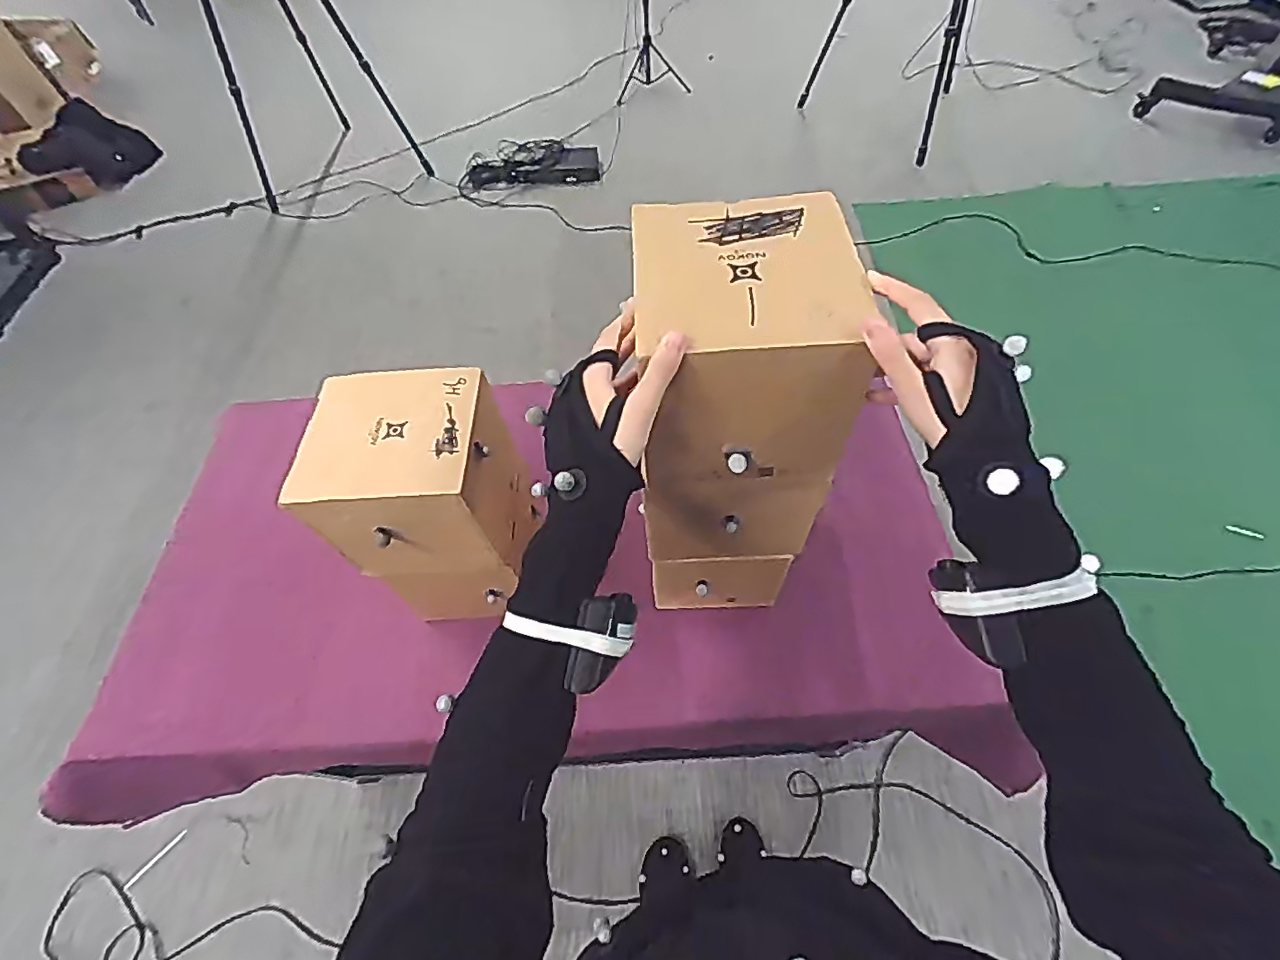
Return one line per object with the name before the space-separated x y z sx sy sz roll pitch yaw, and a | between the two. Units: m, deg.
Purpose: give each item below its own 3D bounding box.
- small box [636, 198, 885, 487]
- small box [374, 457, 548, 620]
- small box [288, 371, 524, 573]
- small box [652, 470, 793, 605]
small box | 0.083 -0.113 0.469 0.168 0.176 0.179 -4 56 2
small box | -0.231 0.086 0.753 0.179 0.176 0.168 -4 55 2
small box | -0.244 -0.003 0.616 0.179 0.176 0.168 -3 56 1
small box | 0.104 0.066 0.743 0.168 0.176 0.179 -3 55 2
